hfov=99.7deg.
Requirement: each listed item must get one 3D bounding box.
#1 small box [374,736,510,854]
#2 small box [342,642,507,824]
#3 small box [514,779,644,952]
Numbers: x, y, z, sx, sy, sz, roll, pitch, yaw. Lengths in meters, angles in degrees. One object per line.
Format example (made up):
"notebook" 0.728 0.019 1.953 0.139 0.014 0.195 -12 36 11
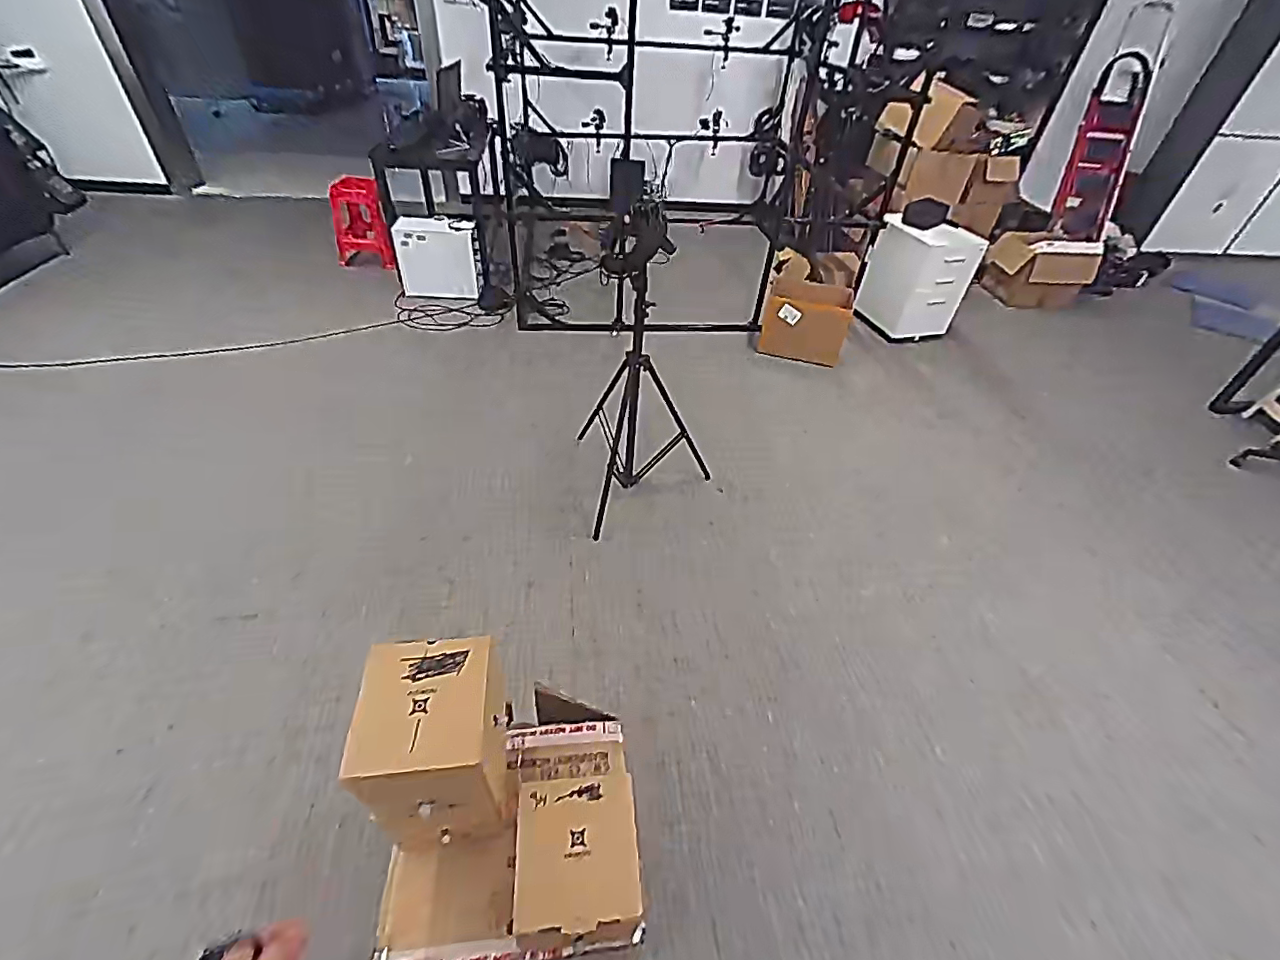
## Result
"small box" -0.304 0.468 0.869 0.168 0.176 0.179 -6 45 -9
"small box" -0.282 0.351 0.754 0.168 0.176 0.179 -3 45 -6
"small box" -0.088 0.562 0.786 0.168 0.176 0.179 -1 44 -8
